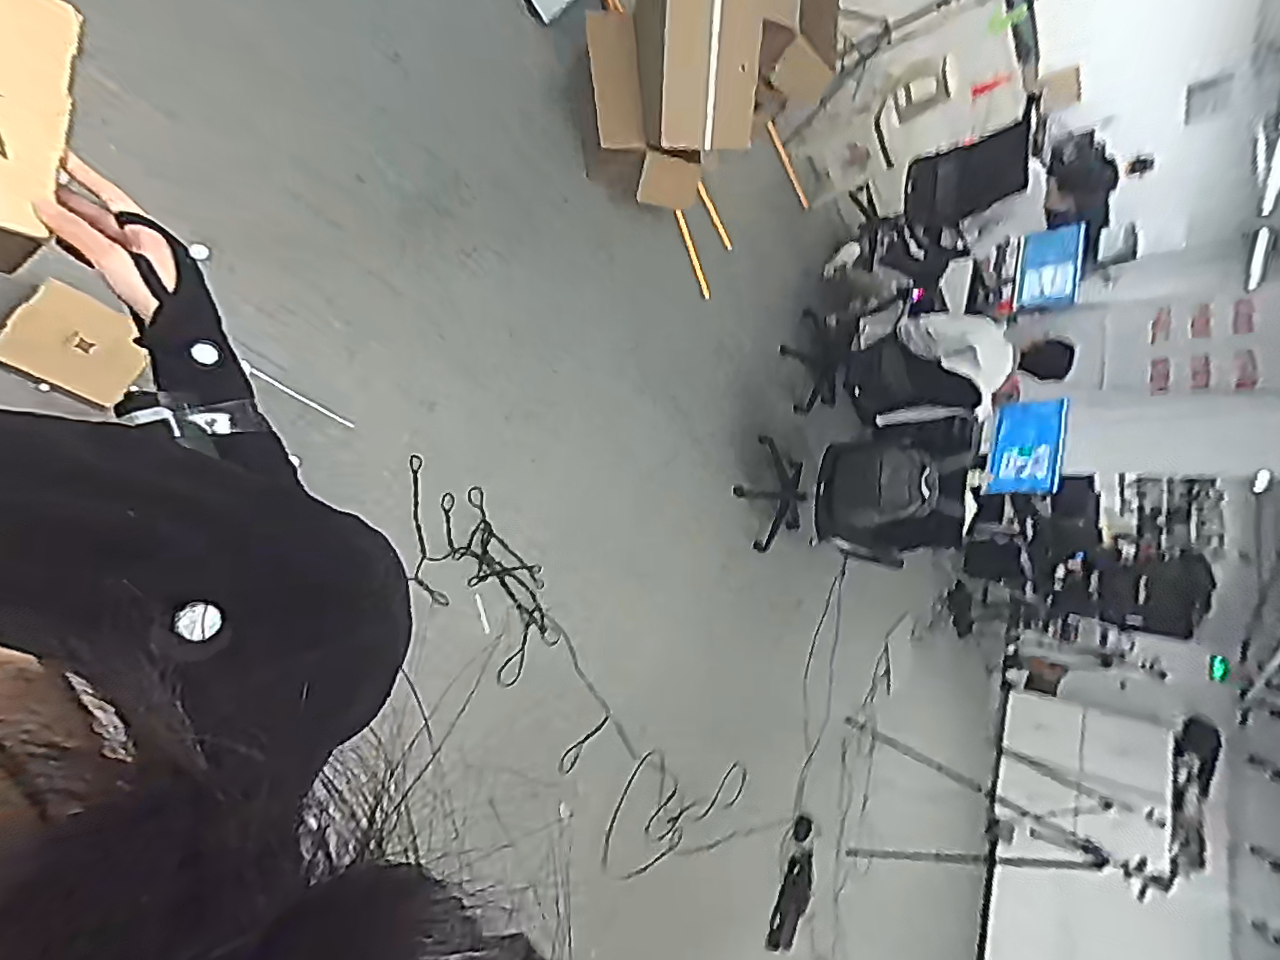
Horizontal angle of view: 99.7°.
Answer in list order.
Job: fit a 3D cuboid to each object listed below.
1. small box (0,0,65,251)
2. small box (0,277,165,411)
[{"bbox_3d":[-0.515,-0.260,0.341,0.179,0.176,0.168,9,88,-55],"label":"small box"},{"bbox_3d":[-1.051,-0.241,1.014,0.179,0.176,0.168,39,65,-40],"label":"small box"}]
